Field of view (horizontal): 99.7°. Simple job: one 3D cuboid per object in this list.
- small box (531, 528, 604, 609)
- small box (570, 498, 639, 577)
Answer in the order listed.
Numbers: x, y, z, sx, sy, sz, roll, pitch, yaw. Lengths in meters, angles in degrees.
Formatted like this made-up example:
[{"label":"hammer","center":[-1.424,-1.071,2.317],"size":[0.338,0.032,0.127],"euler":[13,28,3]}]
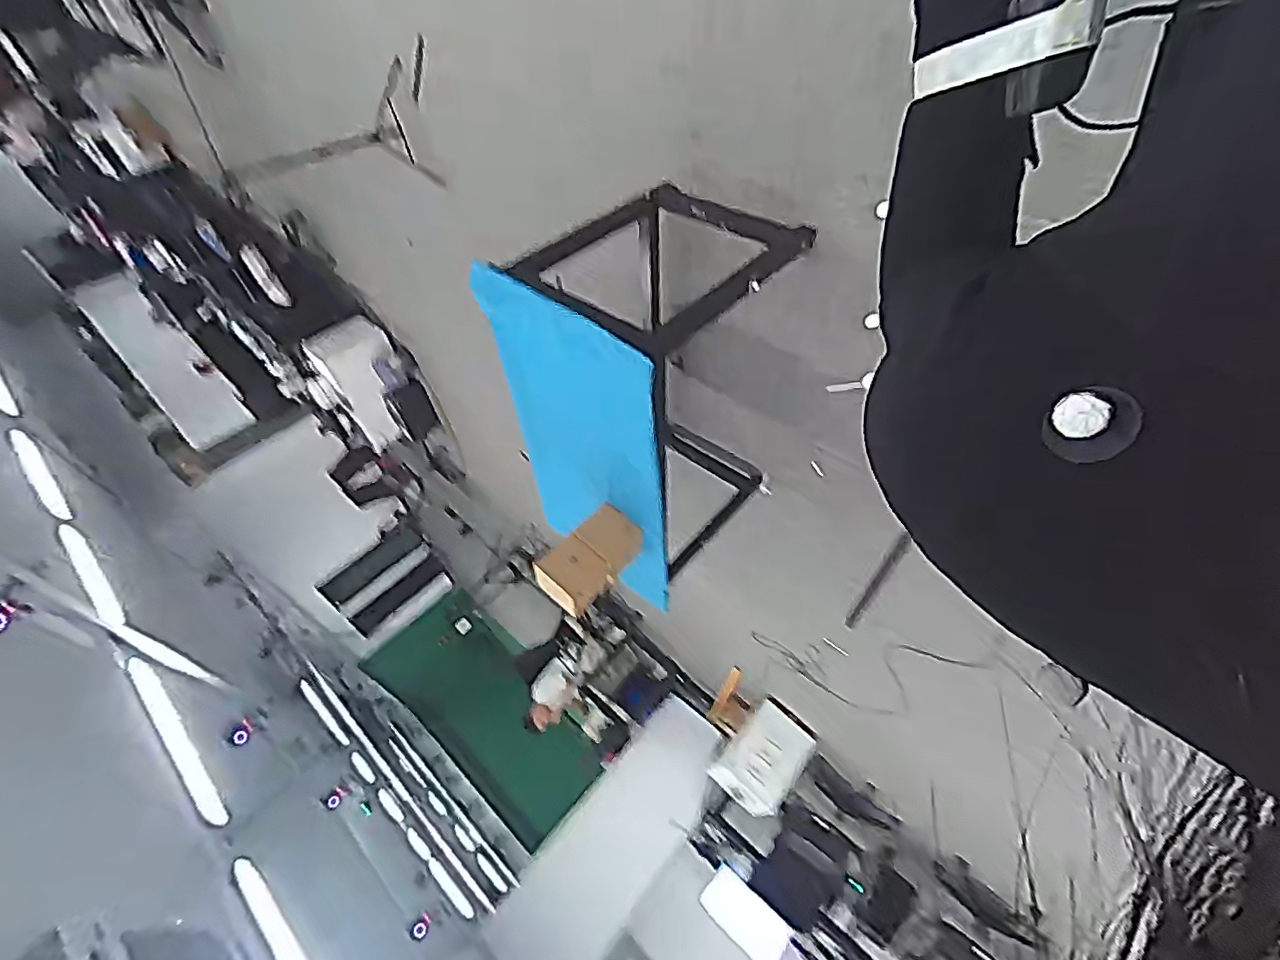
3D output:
[{"label":"small box","center":[-0.239,0.302,1.813],"size":[0.179,0.176,0.168],"euler":[36,150,18]},{"label":"small box","center":[-0.123,0.205,1.879],"size":[0.179,0.176,0.168],"euler":[35,149,21]}]
